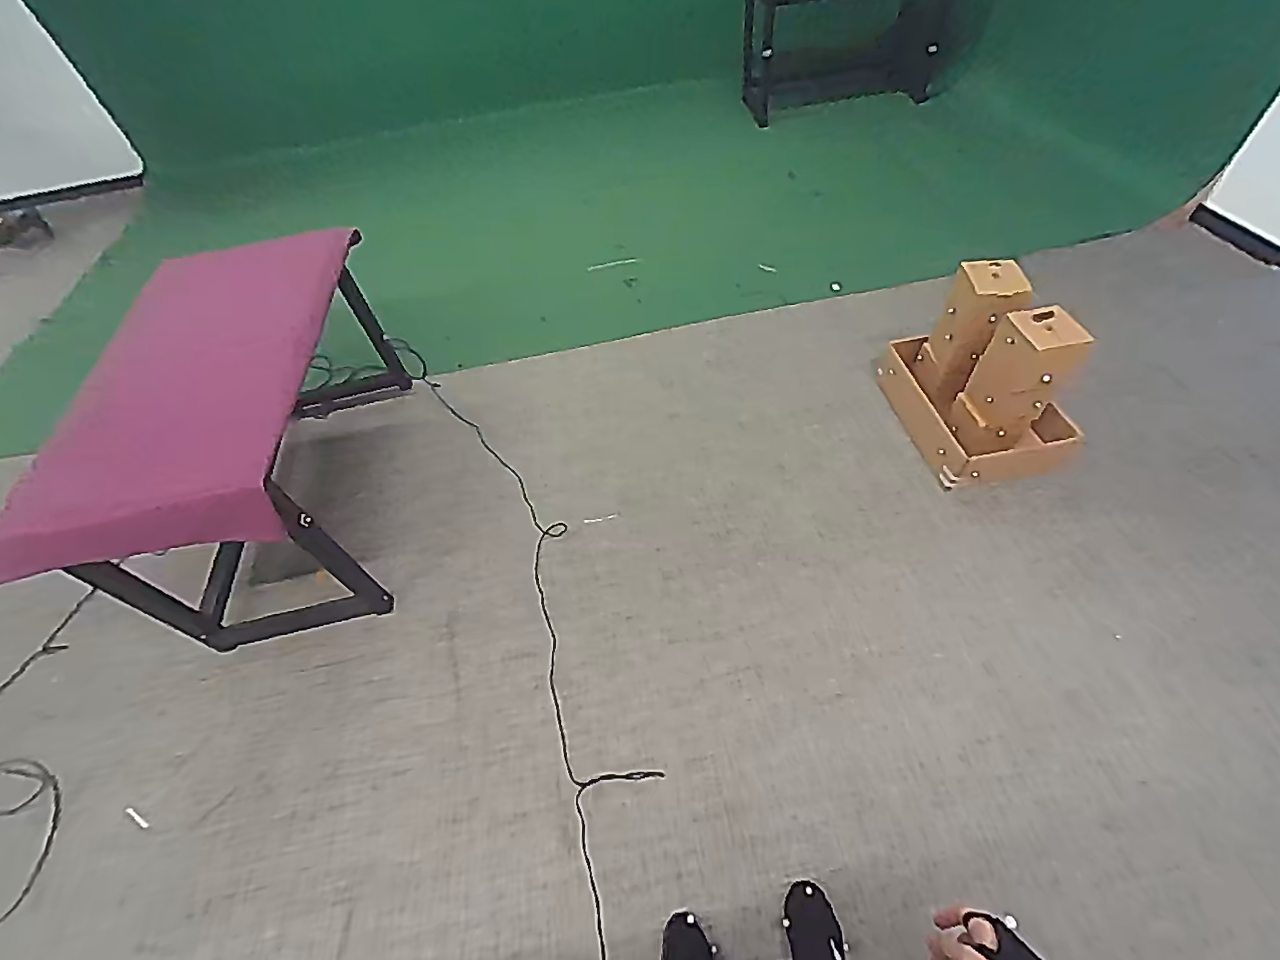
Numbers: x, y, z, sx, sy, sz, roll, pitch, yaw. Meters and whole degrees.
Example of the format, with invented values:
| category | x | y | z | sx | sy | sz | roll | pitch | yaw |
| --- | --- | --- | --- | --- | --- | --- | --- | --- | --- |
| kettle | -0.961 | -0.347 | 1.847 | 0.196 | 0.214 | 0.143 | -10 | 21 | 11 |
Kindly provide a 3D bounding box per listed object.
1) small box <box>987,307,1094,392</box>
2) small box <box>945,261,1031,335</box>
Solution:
| category | x | y | z | sx | sy | sz | roll | pitch | yaw |
| --- | --- | --- | --- | --- | --- | --- | --- | --- | --- |
| small box | 1.194 | -0.391 | 1.631 | 0.168 | 0.176 | 0.179 | -10 | 52 | 0 |
| small box | 1.143 | -0.595 | 1.789 | 0.168 | 0.176 | 0.179 | 0 | 55 | 6 |
